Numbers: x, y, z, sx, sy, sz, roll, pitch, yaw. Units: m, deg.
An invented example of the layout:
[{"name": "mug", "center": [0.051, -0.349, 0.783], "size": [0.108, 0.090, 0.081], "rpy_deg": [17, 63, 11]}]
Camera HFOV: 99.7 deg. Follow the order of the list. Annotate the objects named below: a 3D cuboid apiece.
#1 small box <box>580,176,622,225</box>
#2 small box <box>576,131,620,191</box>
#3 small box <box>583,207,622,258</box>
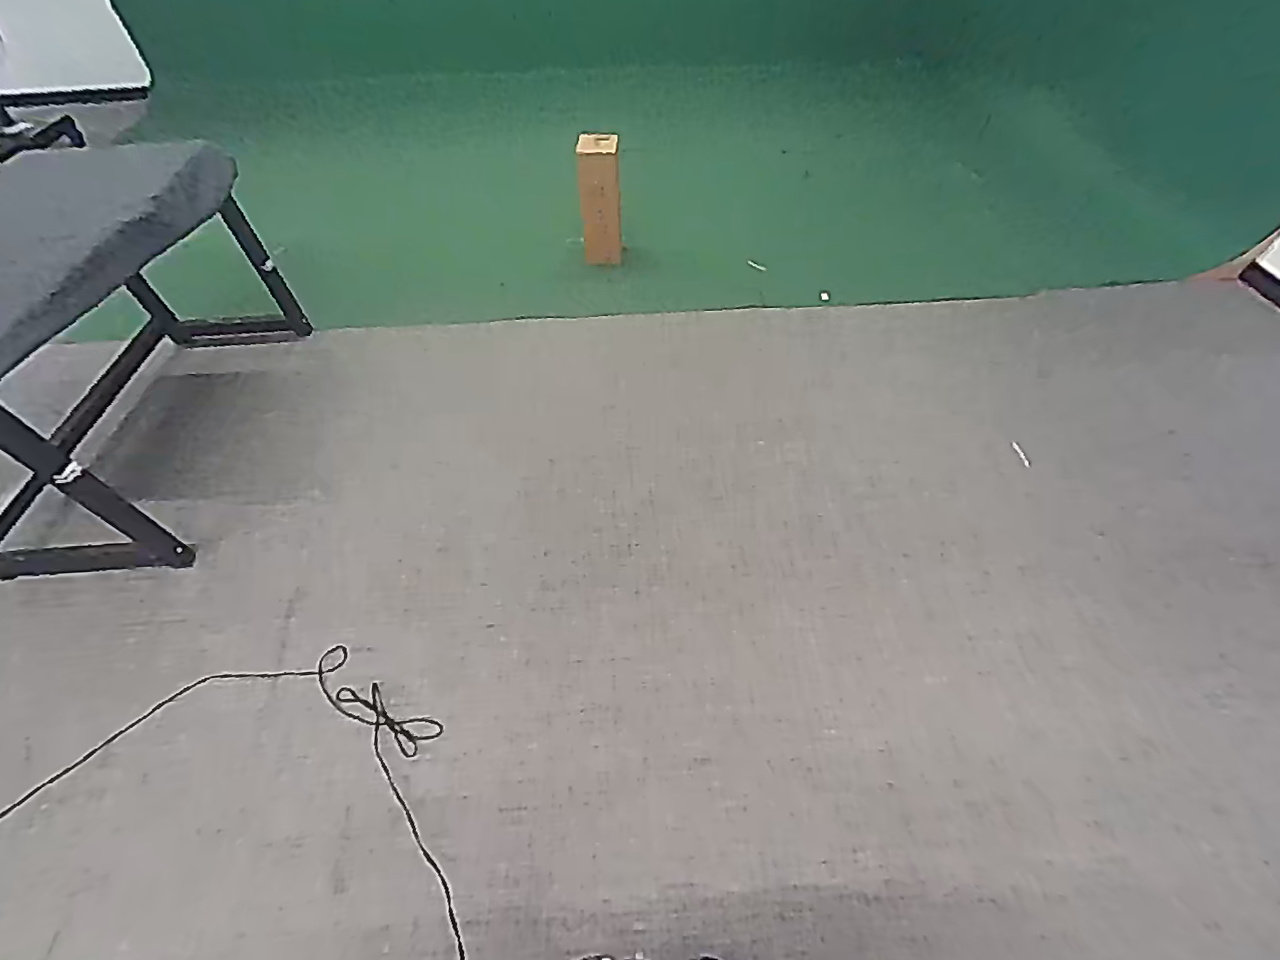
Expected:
[{"name": "small box", "center": [-0.172, -1.273, 2.458], "size": [0.168, 0.176, 0.179], "rpy_deg": [2, 54, 2]}, {"name": "small box", "center": [-0.176, -1.374, 2.327], "size": [0.168, 0.176, 0.179], "rpy_deg": [2, 53, 3]}, {"name": "small box", "center": [-0.174, -1.177, 2.567], "size": [0.168, 0.176, 0.179], "rpy_deg": [4, 52, 1]}]
